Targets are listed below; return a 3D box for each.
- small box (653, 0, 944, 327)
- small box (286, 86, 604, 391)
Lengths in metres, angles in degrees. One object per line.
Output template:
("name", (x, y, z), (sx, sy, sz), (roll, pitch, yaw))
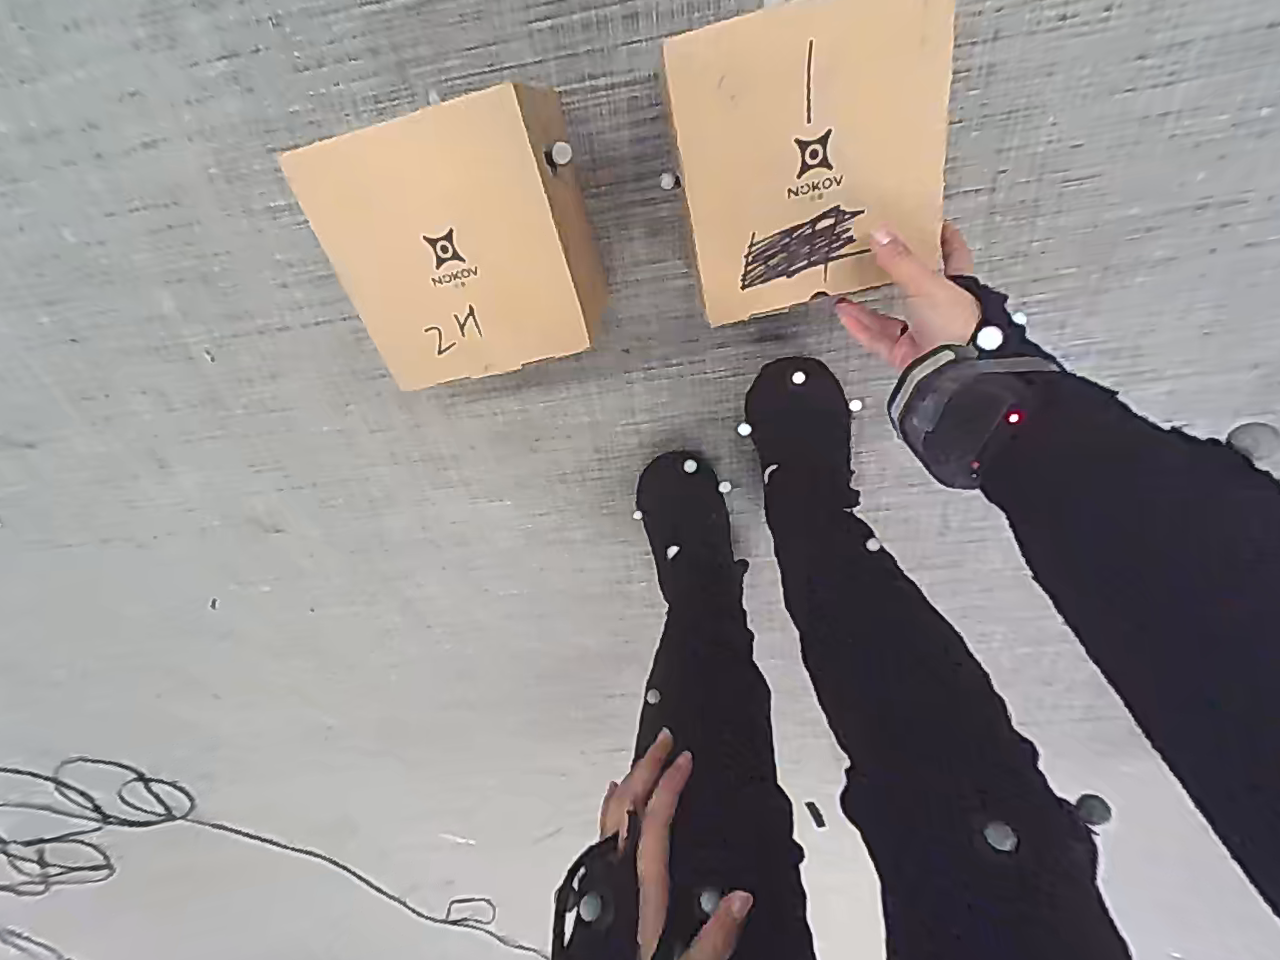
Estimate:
("small box", (0.108, -0.243, 0.418), (0.168, 0.176, 0.179), (-11, 122, 8))
("small box", (-0.135, -0.201, 0.454), (0.168, 0.176, 0.179), (-10, 124, 9))
